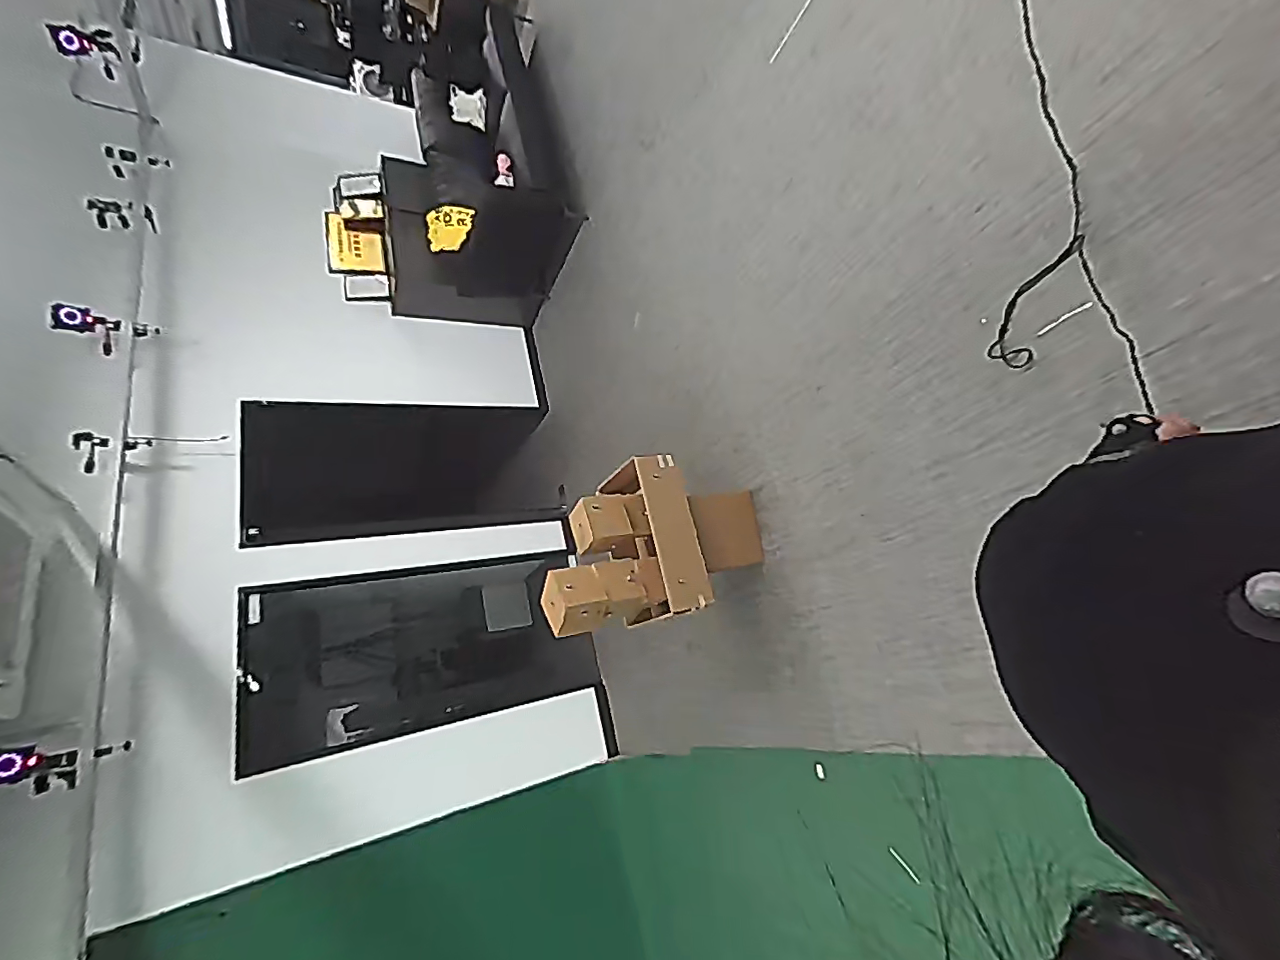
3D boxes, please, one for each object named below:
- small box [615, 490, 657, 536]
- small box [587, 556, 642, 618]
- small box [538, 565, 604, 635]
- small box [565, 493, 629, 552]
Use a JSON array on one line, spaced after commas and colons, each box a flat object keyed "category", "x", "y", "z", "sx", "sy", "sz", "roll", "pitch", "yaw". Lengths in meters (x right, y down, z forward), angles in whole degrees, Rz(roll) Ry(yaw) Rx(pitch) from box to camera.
[{"category": "small box", "x": -0.041, "y": 0.138, "z": 2.193, "sx": 0.179, "sy": 0.176, "sz": 0.168, "roll": -22, "pitch": 75, "yaw": 58}, {"category": "small box", "x": -0.115, "y": 0.404, "z": 2.028, "sx": 0.168, "sy": 0.176, "sz": 0.179, "roll": 64, "pitch": 142, "yaw": 30}, {"category": "small box", "x": -0.246, "y": 0.422, "z": 1.932, "sx": 0.179, "sy": 0.176, "sz": 0.168, "roll": 54, "pitch": 136, "yaw": 41}, {"category": "small box", "x": -0.167, "y": 0.161, "z": 2.083, "sx": 0.168, "sy": 0.176, "sz": 0.179, "roll": -51, "pitch": 52, "yaw": 51}]
